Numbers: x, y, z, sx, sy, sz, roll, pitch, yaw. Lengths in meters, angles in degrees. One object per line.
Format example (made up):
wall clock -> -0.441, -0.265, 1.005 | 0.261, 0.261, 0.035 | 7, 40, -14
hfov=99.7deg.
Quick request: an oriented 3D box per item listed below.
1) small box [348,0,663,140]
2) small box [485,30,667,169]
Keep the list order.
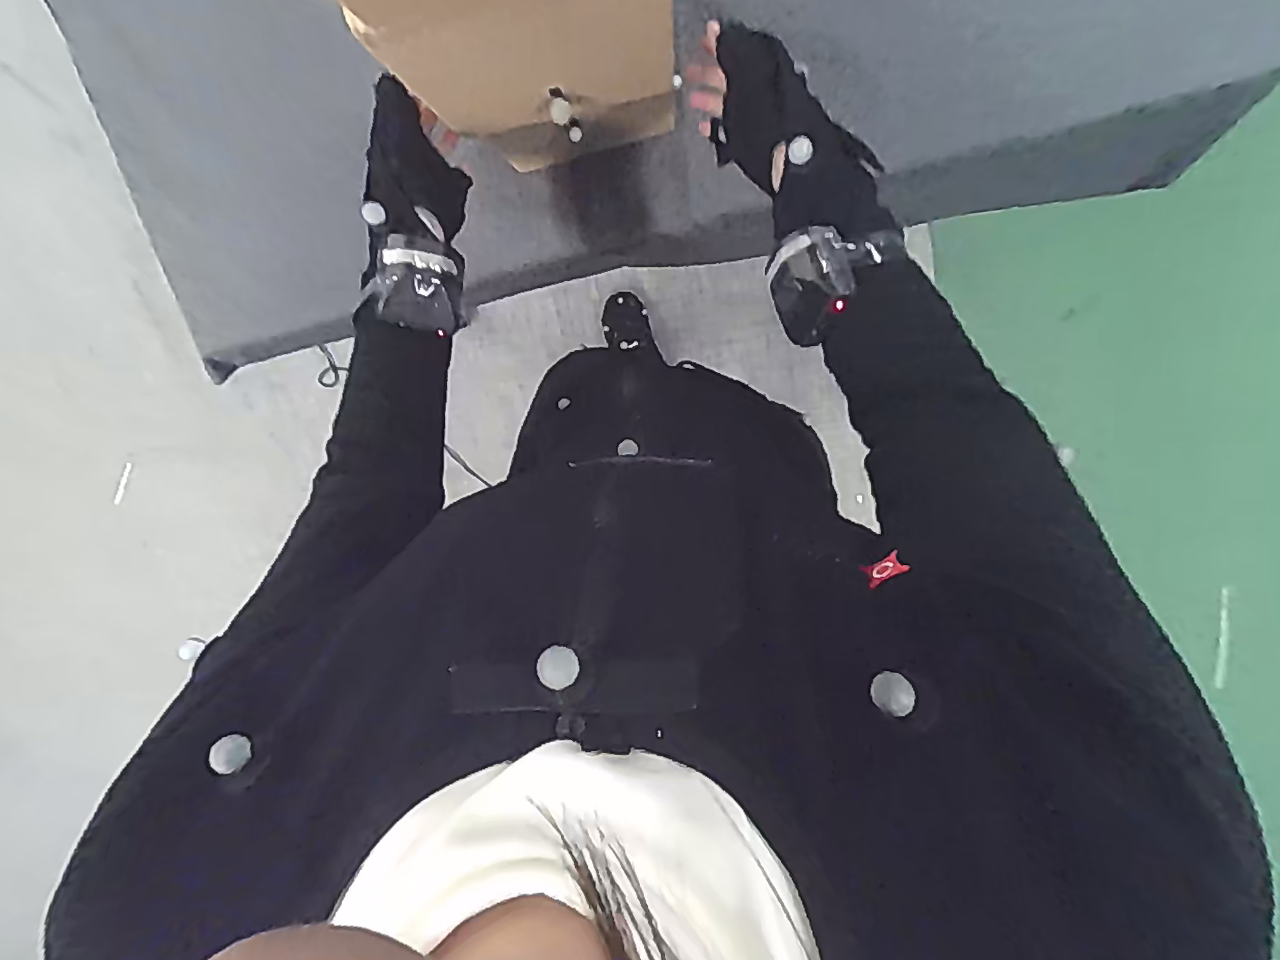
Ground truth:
small box -> -0.083, -0.350, 0.343 | 0.179, 0.176, 0.168 | -12, 105, 7
small box -> -0.075, -0.412, 0.492 | 0.179, 0.176, 0.168 | -11, 104, 8
